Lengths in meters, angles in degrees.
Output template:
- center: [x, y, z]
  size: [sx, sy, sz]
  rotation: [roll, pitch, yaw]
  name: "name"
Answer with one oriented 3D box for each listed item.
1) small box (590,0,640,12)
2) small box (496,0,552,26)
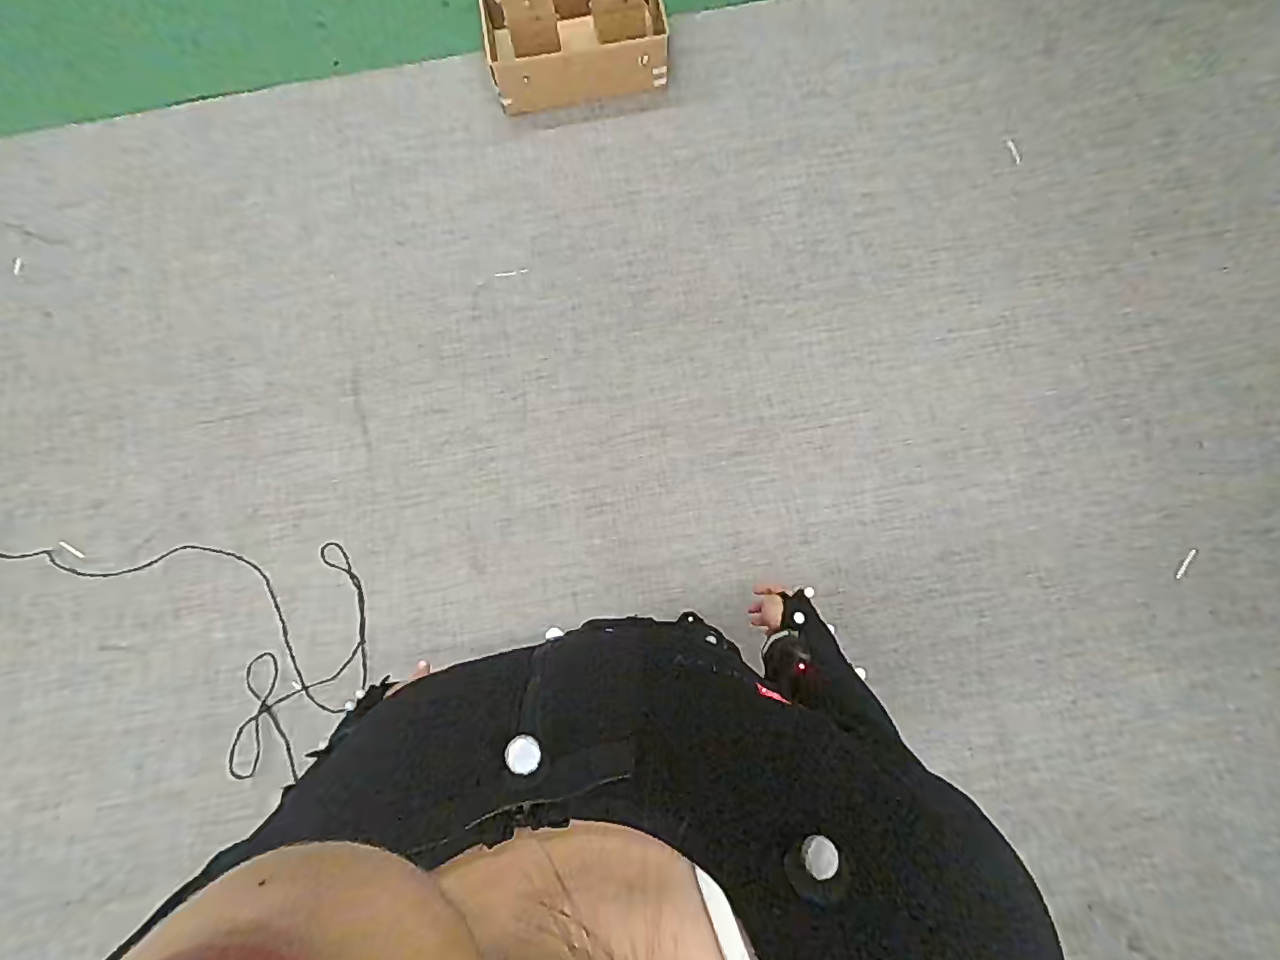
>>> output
- center: [-0.097, -1.658, 1.729]
  size: [0.168, 0.176, 0.179]
  rotation: [-11, 77, 0]
  name: "small box"
- center: [-0.387, -1.594, 1.722]
  size: [0.168, 0.176, 0.179]
  rotation: [-13, 77, -2]
  name: "small box"
